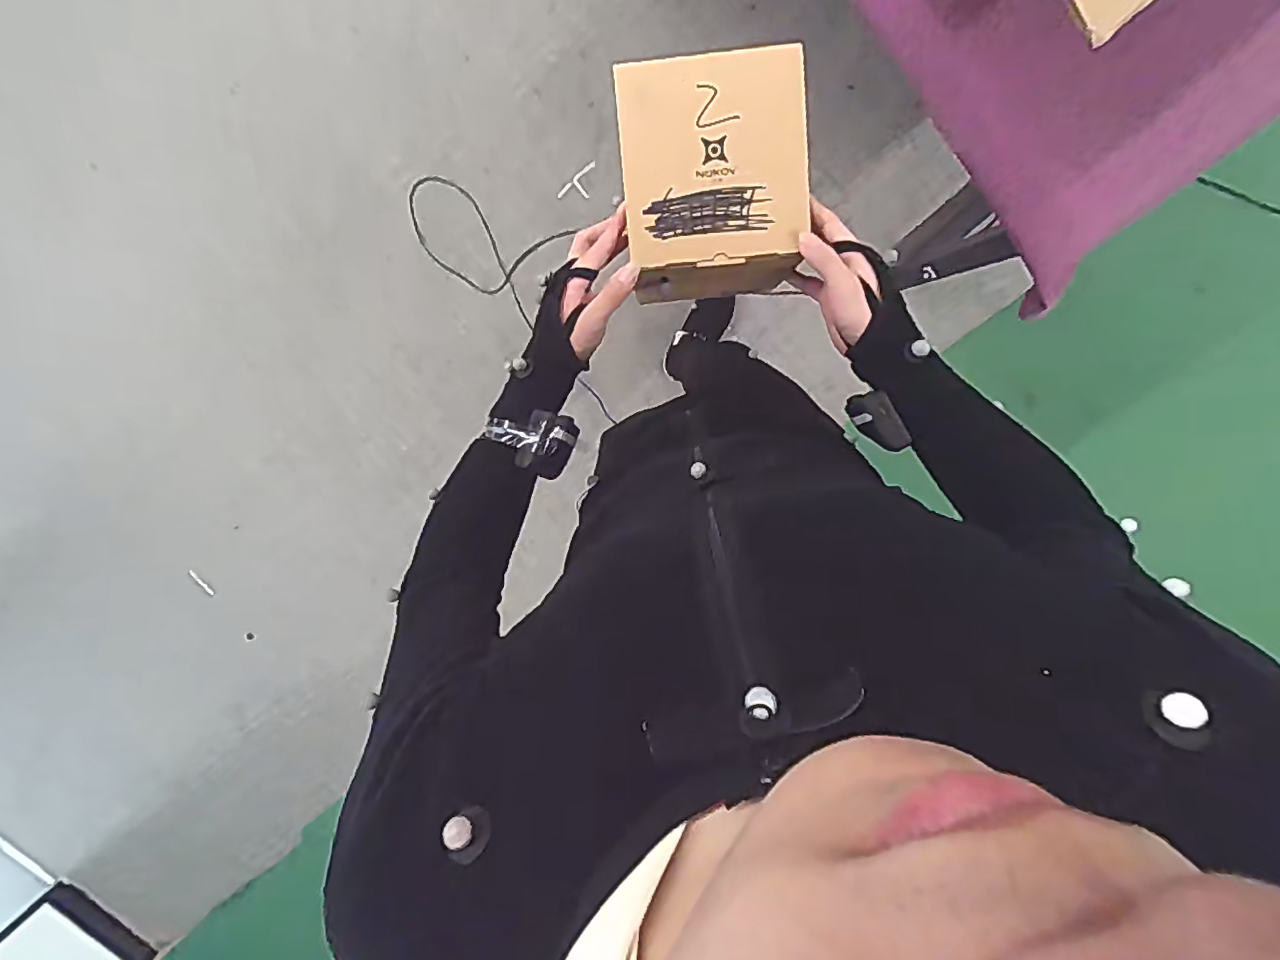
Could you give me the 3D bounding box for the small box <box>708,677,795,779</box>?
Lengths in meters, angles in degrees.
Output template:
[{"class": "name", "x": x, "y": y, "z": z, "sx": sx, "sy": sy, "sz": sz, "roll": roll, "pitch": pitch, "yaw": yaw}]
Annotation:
[{"class": "small box", "x": 0.305, "y": 0.683, "z": 1.517, "sx": 0.168, "sy": 0.176, "sz": 0.179, "roll": -35, "pitch": 99, "yaw": 11}]
